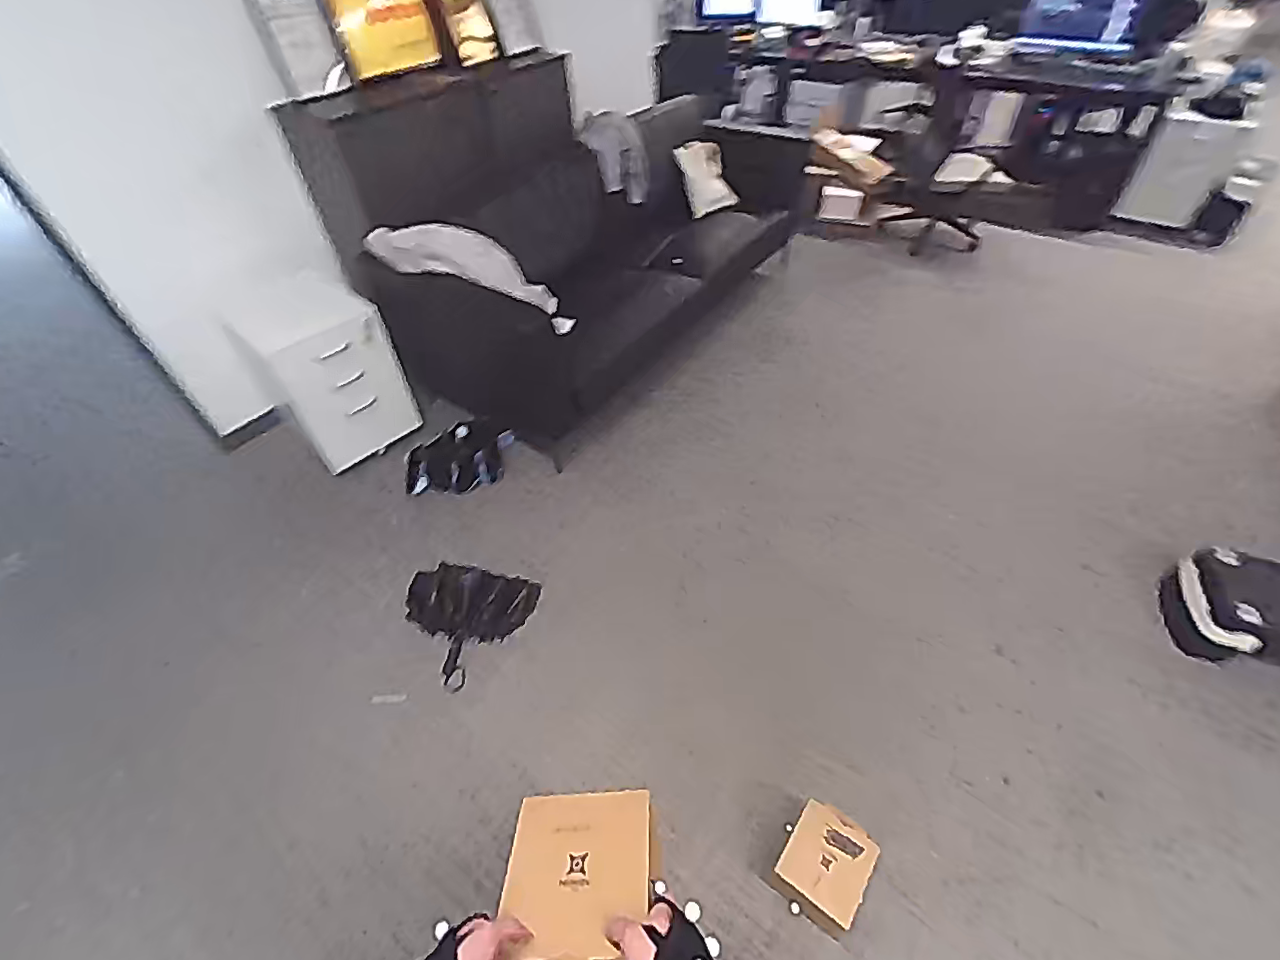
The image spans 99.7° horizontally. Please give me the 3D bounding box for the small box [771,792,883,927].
[{"bbox_3d":[0.406,0.843,1.201,0.168,0.176,0.179,28,55,27],"label":"small box"}]

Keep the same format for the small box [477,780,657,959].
[{"bbox_3d":[-0.071,0.498,0.648,0.168,0.176,0.179,-7,26,5],"label":"small box"}]
